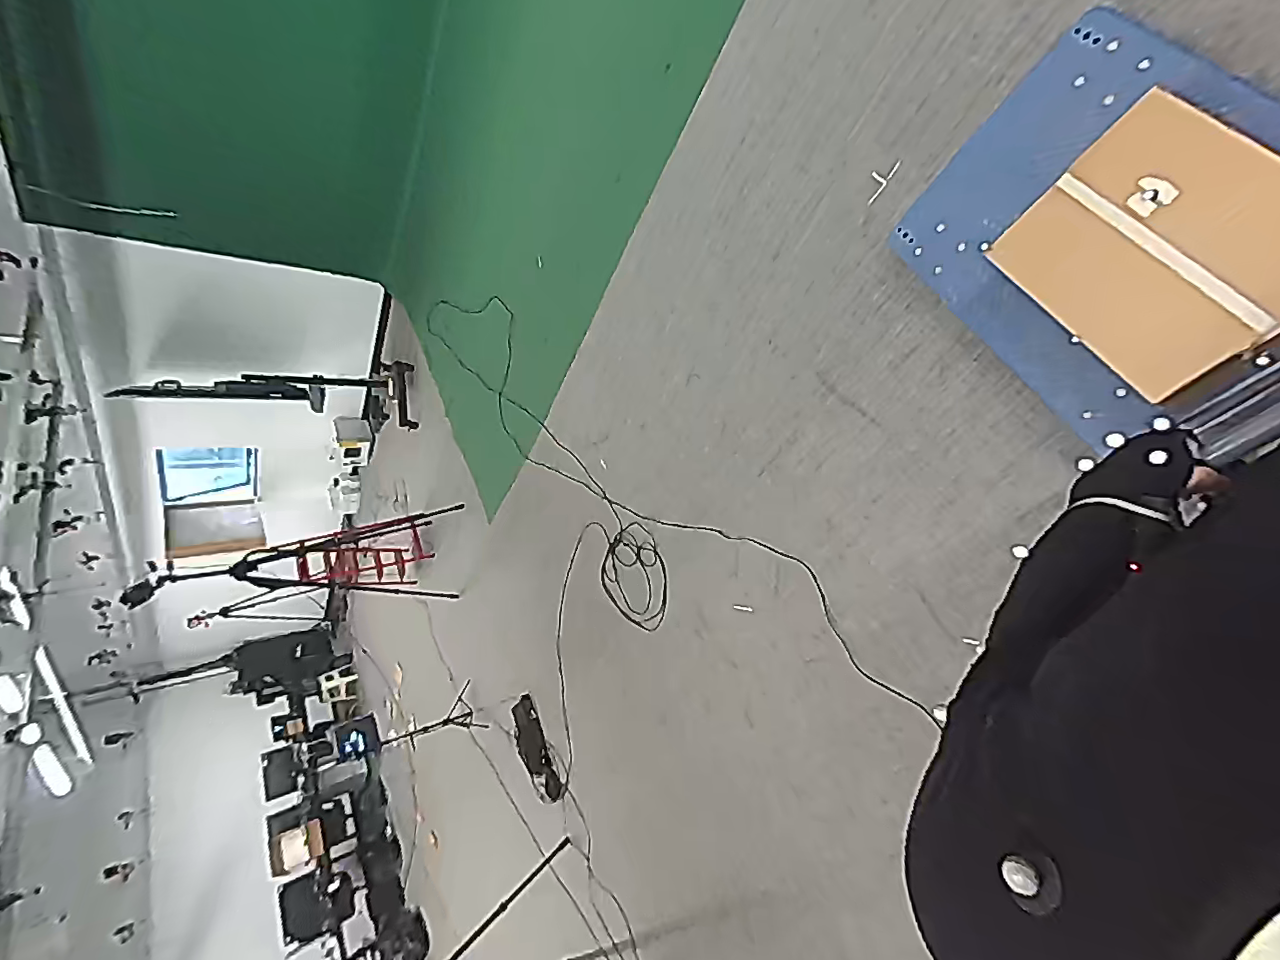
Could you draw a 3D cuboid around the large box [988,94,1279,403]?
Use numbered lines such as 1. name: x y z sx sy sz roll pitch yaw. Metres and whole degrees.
1. large box: 0.956 -0.389 0.976 0.320 0.320 0.408 -51 55 39
